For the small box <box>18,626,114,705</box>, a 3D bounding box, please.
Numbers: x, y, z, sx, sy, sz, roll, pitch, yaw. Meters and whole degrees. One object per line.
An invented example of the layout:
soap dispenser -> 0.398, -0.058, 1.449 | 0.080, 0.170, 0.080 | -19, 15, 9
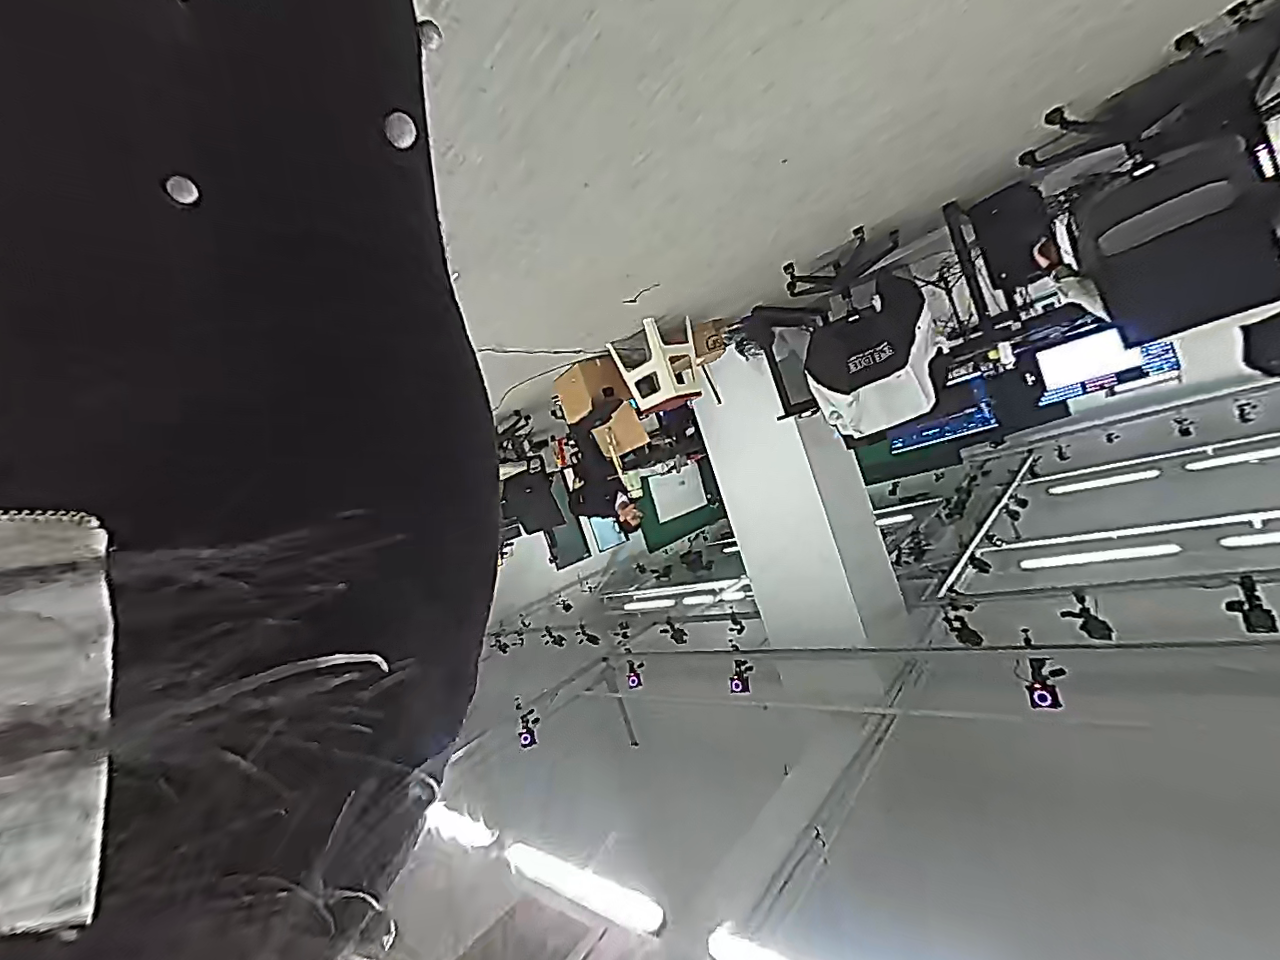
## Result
small box -> -1.751, 0.561, 1.650 | 0.168, 0.176, 0.179 | -18, 180, 44
